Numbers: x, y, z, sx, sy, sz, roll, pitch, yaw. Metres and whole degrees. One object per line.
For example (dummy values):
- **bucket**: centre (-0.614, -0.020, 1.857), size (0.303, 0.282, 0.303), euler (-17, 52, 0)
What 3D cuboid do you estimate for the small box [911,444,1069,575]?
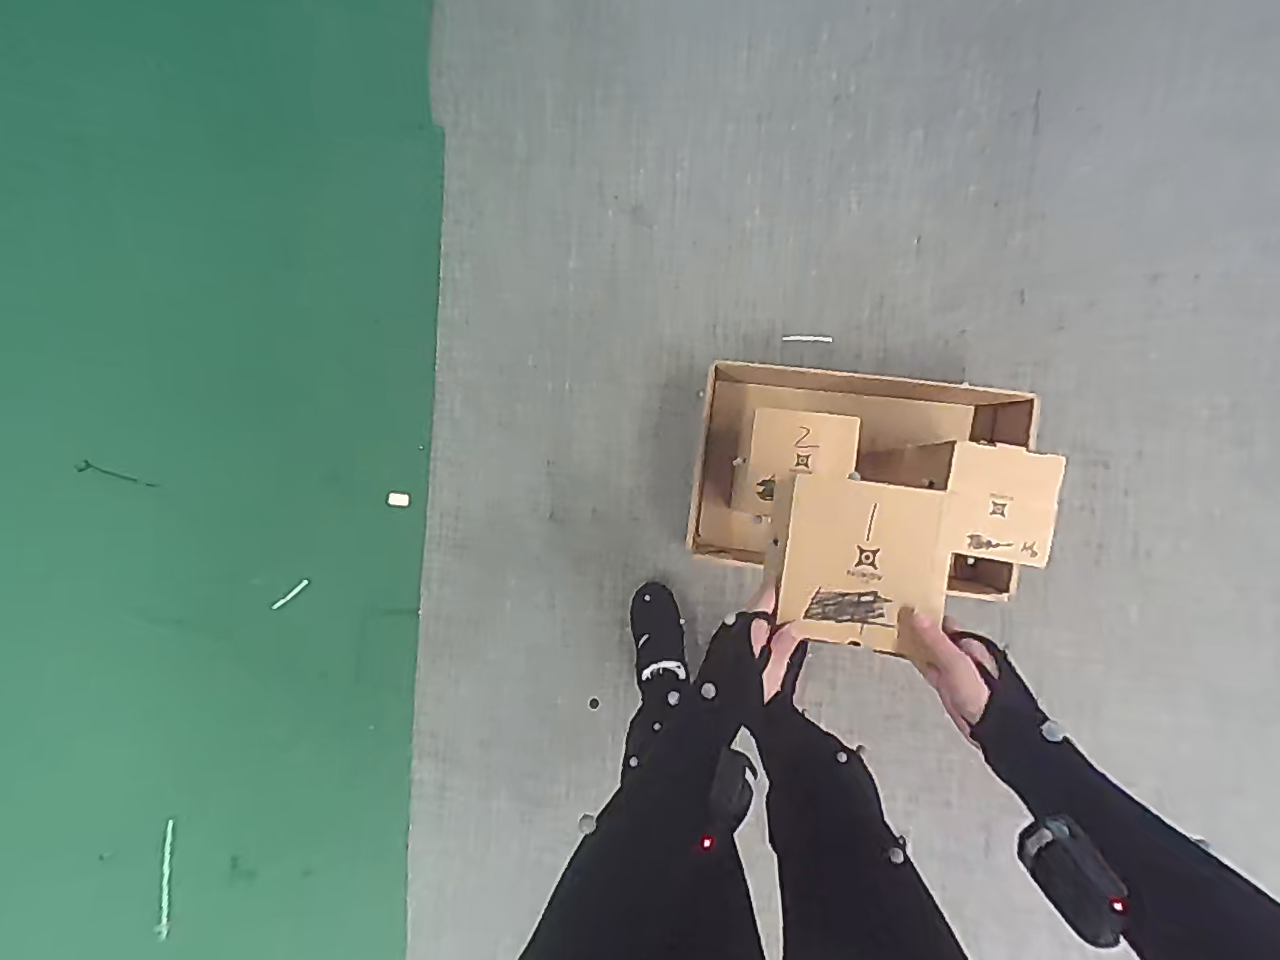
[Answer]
- **small box**: centre (0.559, 0.046, 0.898), size (0.168, 0.176, 0.179), euler (10, 90, 6)

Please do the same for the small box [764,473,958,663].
- **small box**: centre (0.242, 0.093, 0.636), size (0.168, 0.176, 0.179), euler (7, 87, 8)

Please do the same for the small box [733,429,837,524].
- **small box**: centre (0.284, 0.002, 1.094), size (0.168, 0.176, 0.179), euler (7, 89, 6)
